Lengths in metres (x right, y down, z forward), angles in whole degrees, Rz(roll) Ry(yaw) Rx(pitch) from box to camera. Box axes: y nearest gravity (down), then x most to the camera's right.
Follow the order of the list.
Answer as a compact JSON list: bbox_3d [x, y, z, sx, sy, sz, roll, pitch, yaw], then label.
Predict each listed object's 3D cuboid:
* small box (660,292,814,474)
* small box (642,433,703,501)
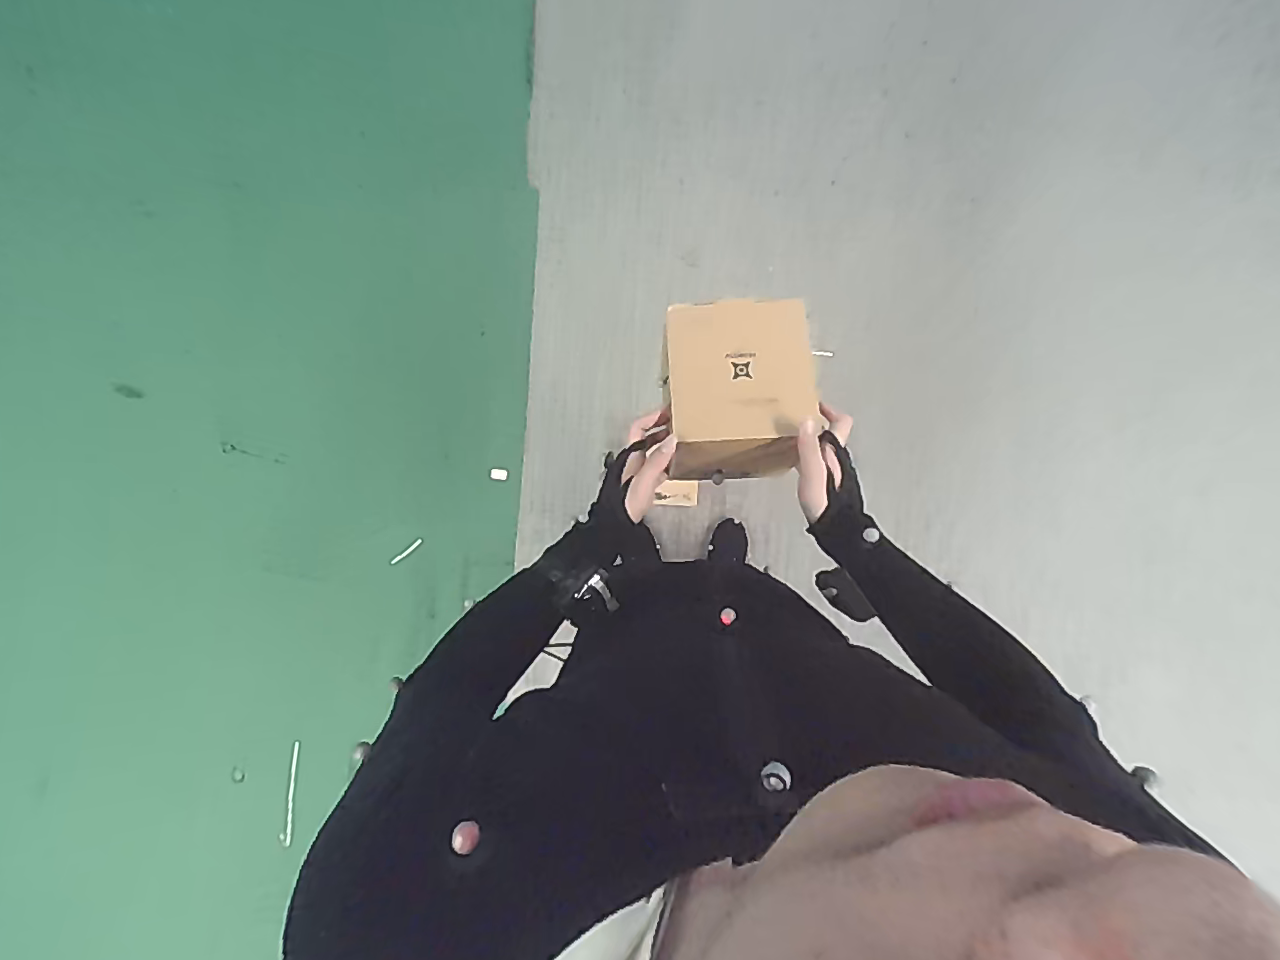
[{"bbox_3d":[0.110,-0.116,0.692,0.168,0.176,0.179,-2,74,1],"label":"small box"},{"bbox_3d":[0.097,-0.033,1.569,0.168,0.176,0.179,4,87,4],"label":"small box"}]
